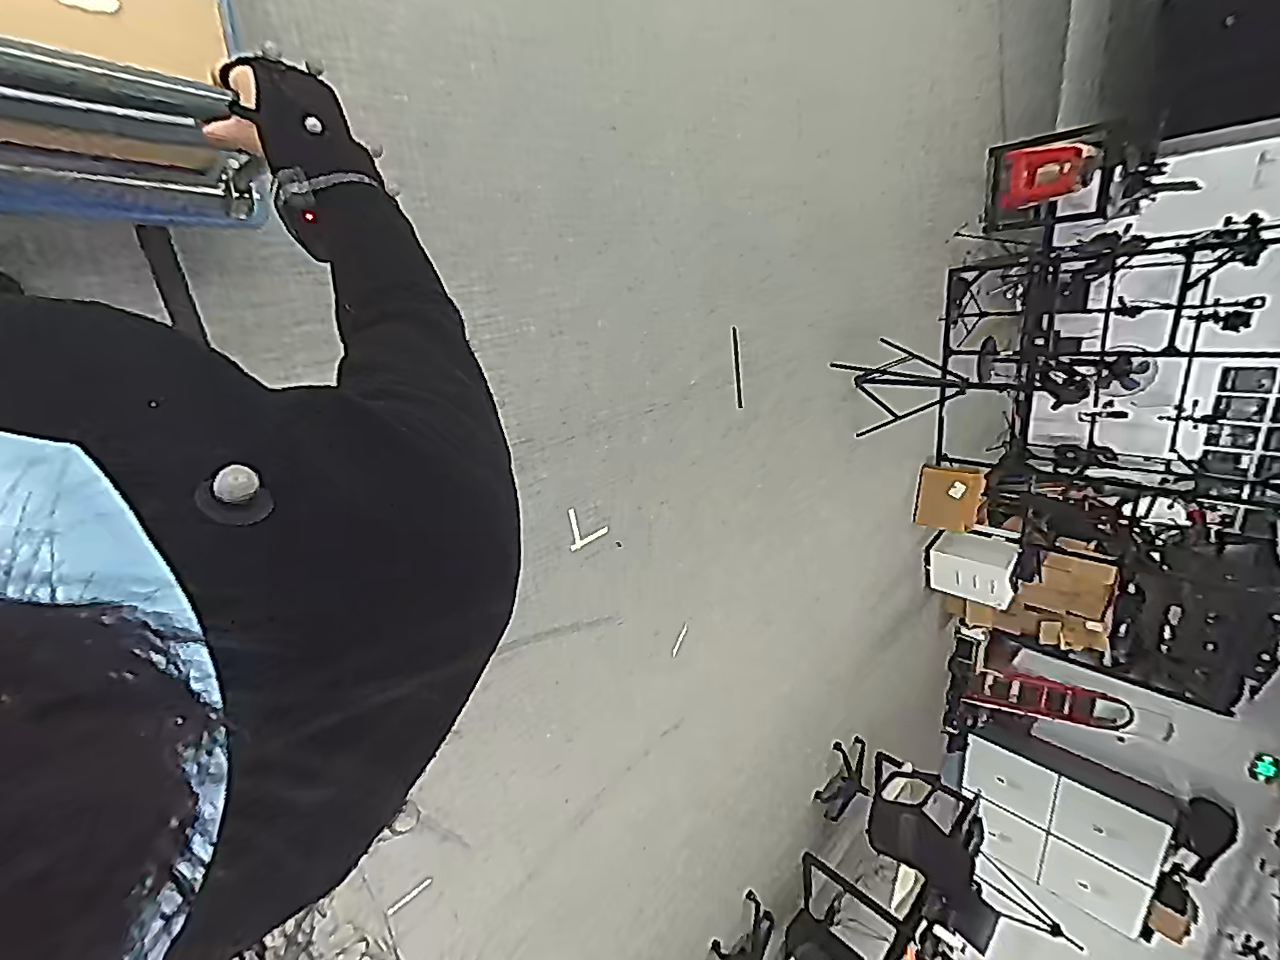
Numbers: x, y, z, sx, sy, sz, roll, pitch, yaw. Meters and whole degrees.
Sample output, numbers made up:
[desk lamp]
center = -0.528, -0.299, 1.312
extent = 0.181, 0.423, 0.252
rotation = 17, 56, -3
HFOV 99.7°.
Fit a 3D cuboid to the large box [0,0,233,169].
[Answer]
[large box]
center = -0.829, -0.635, 0.698
extent = 0.408, 0.320, 0.320
rotation = -17, 112, -42
